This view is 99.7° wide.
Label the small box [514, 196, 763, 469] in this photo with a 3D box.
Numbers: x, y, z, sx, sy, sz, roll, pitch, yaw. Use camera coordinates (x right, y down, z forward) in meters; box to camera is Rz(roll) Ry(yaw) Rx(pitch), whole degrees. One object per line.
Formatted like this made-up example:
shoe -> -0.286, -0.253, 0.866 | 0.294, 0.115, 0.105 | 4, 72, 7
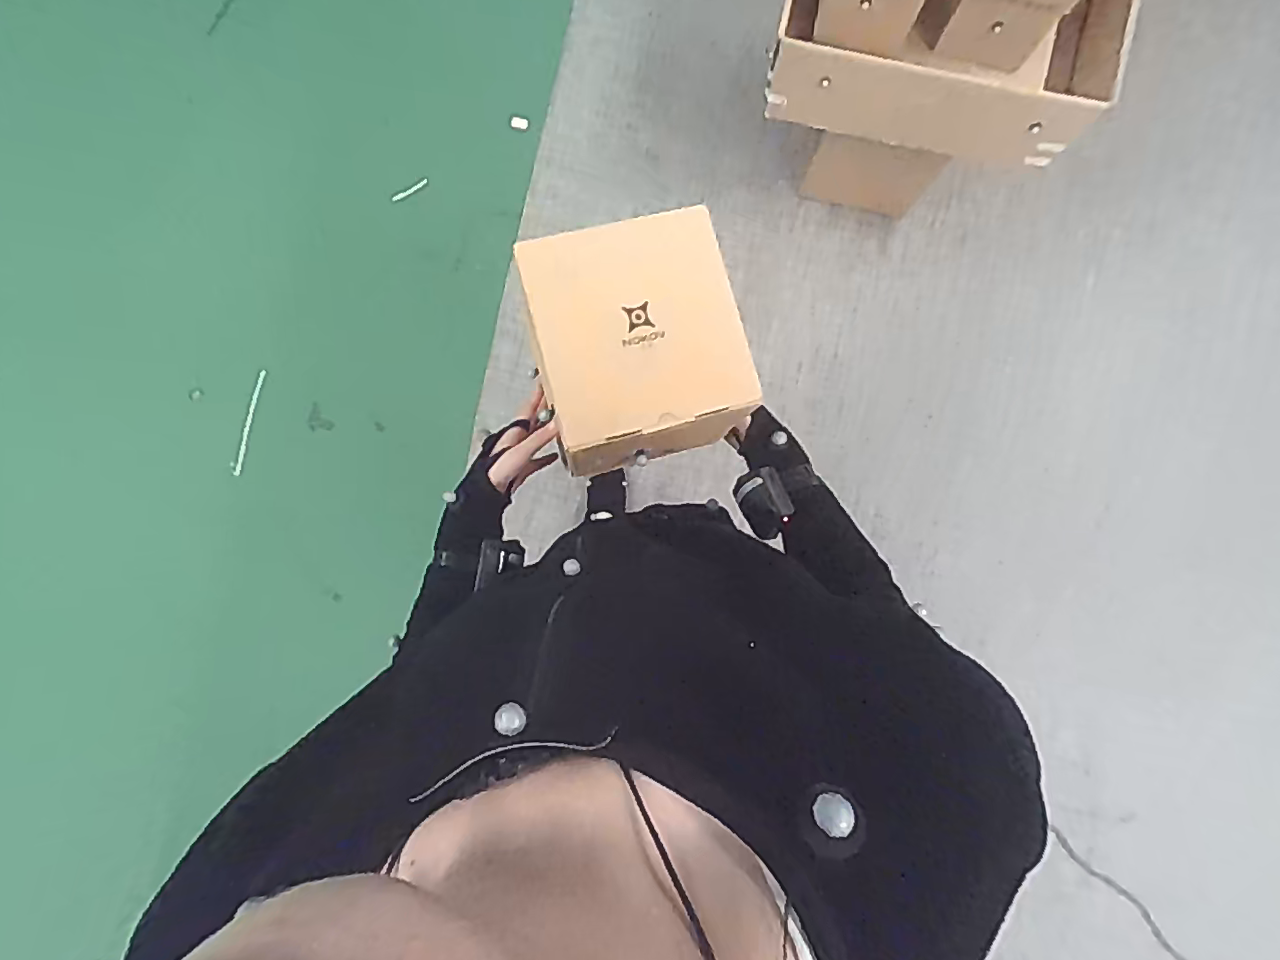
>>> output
small box -> -0.010, -0.121, 0.500 | 0.168, 0.176, 0.179 | -14, 85, -7
